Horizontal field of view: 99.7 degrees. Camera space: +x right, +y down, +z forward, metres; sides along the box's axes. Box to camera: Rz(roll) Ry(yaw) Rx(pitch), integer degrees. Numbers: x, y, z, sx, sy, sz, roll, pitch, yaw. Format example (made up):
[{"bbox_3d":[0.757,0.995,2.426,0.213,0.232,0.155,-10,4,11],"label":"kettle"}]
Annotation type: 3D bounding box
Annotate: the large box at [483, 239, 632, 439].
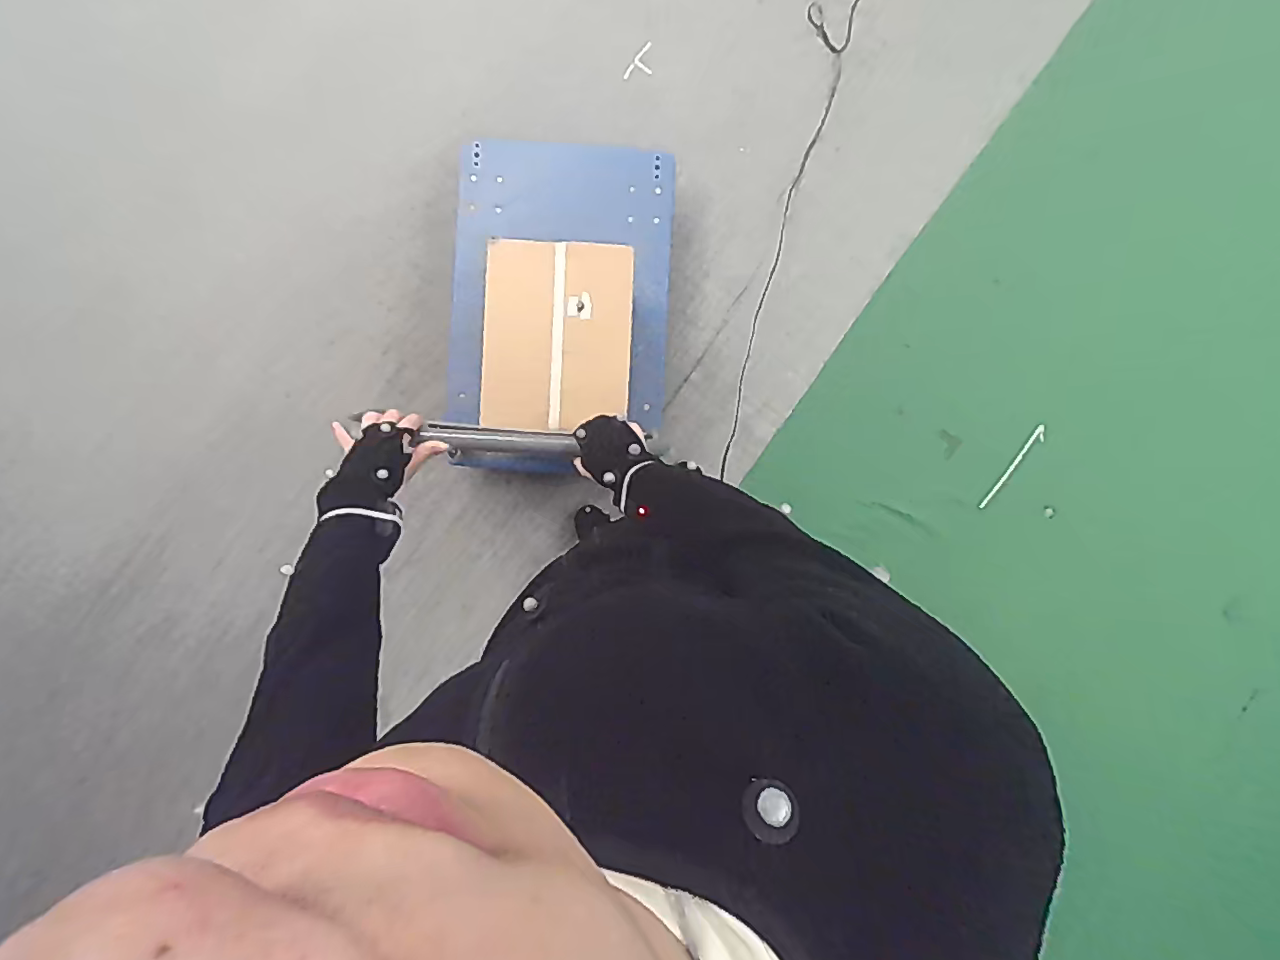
[{"bbox_3d":[-0.180,-0.313,1.313,0.320,0.320,0.408,3,89,-2],"label":"large box"}]
